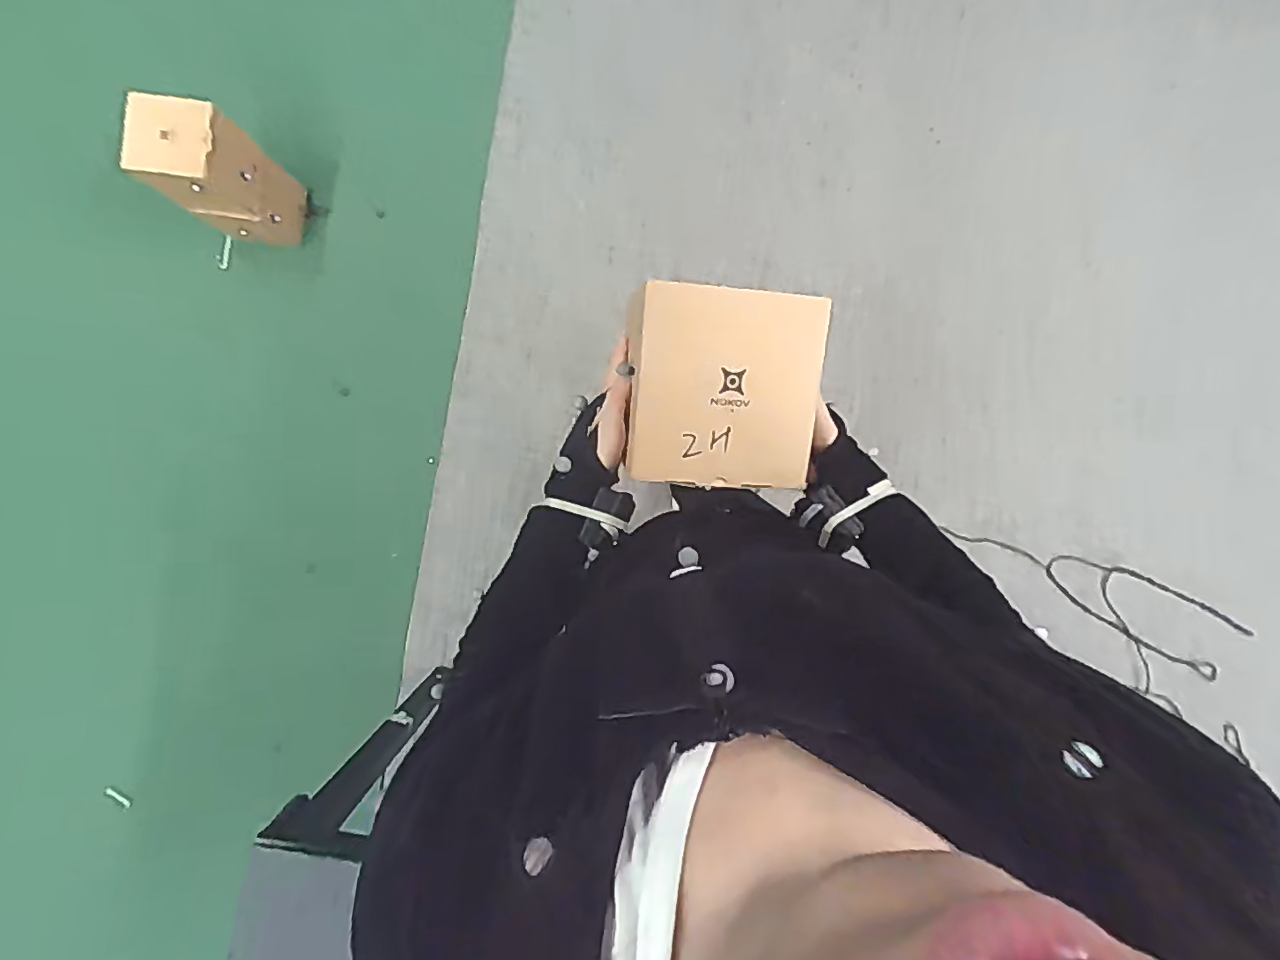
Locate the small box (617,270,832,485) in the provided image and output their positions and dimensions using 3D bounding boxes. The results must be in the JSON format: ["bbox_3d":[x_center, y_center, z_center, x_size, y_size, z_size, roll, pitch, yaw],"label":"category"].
[{"bbox_3d":[0.069,-0.101,0.549,0.168,0.176,0.179,3,102,-8],"label":"small box"}]

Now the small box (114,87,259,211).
[{"bbox_3d":[-1.000,-0.726,1.204,0.179,0.176,0.168,6,90,-2],"label":"small box"}]
